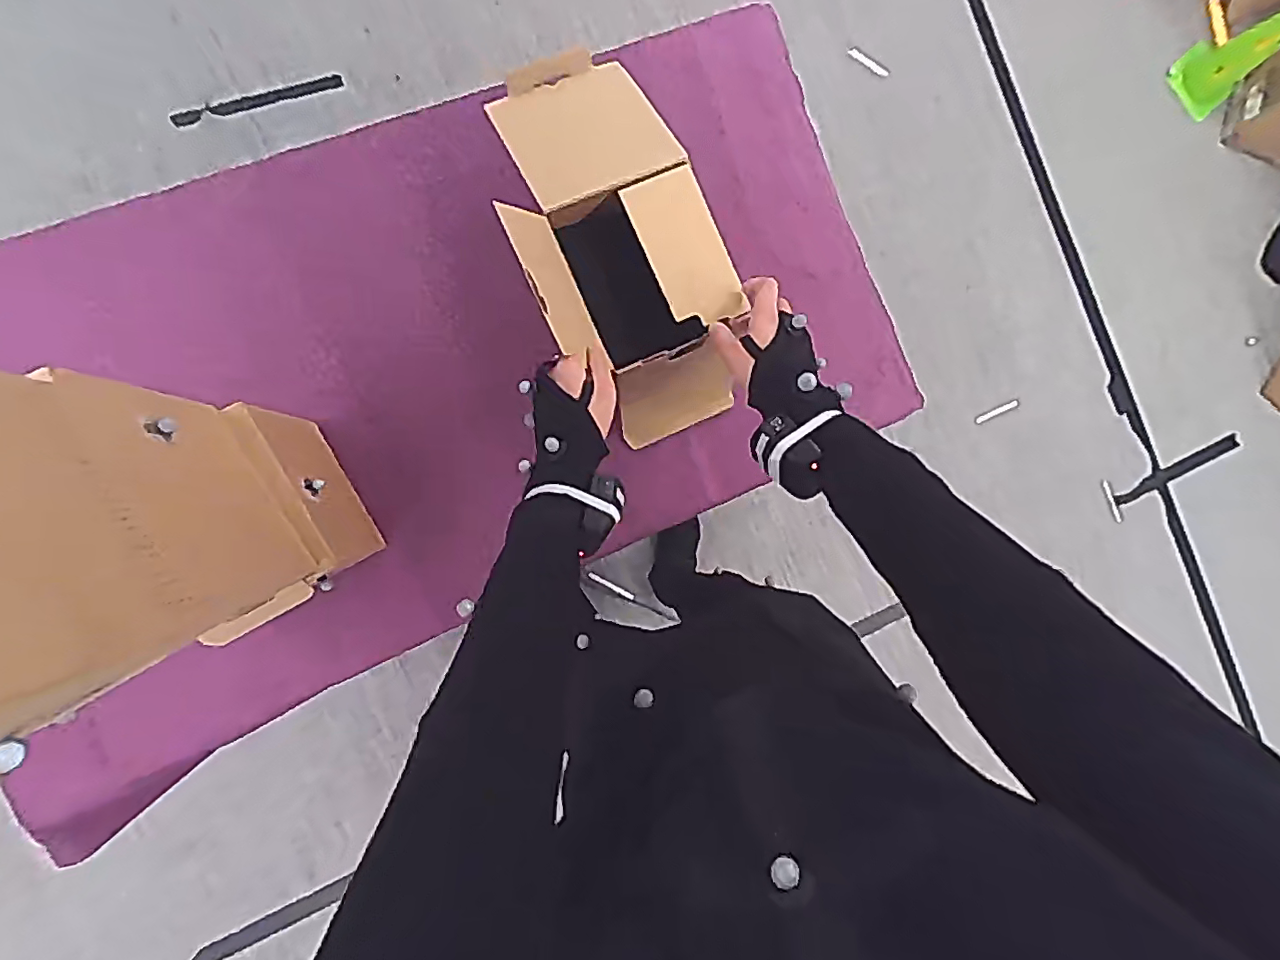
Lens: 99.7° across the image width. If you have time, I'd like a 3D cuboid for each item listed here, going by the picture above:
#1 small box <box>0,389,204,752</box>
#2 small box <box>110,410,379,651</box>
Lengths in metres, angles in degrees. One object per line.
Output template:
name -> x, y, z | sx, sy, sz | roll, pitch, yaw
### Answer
small box -> -0.363, 0.057, 0.242 | 0.168, 0.176, 0.179 | -31, 94, -8
small box -> -0.409, 0.046, 0.570 | 0.168, 0.176, 0.179 | -28, 94, -9
